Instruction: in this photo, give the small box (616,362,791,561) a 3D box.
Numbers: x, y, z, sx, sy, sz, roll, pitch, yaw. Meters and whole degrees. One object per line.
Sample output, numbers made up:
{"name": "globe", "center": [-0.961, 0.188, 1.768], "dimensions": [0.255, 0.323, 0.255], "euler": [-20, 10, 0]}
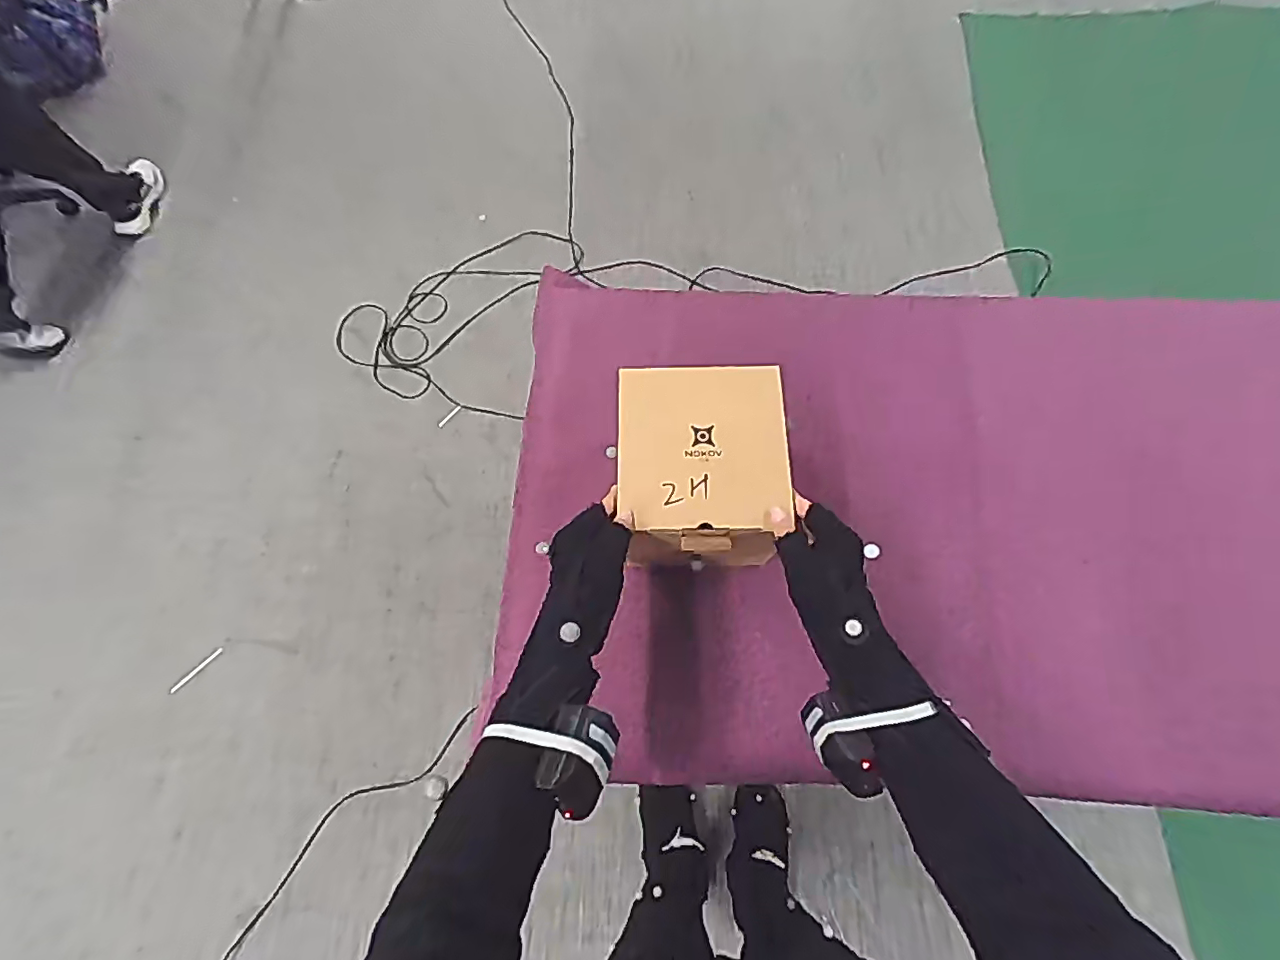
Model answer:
{"name": "small box", "center": [0.063, -0.013, 0.604], "dimensions": [0.168, 0.176, 0.179], "euler": [-1, 71, 3]}
